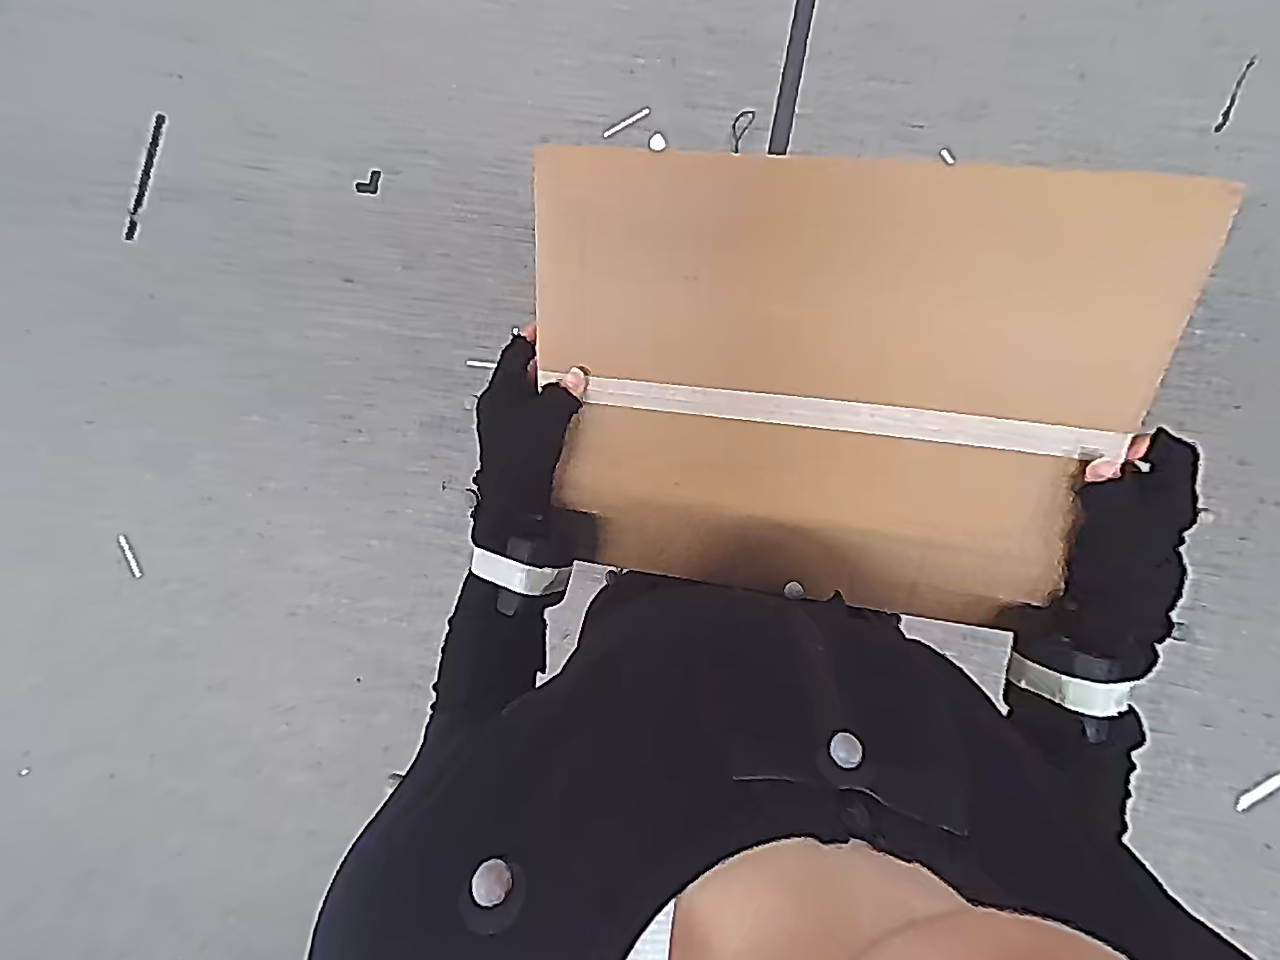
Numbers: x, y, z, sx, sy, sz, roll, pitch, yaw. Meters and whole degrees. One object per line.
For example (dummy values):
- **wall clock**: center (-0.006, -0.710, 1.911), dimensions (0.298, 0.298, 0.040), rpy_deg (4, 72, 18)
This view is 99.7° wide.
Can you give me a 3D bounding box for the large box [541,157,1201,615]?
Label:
- **large box**: center (0.145, -0.112, 0.532), dimensions (0.408, 0.320, 0.320), rpy_deg (8, 116, 8)
